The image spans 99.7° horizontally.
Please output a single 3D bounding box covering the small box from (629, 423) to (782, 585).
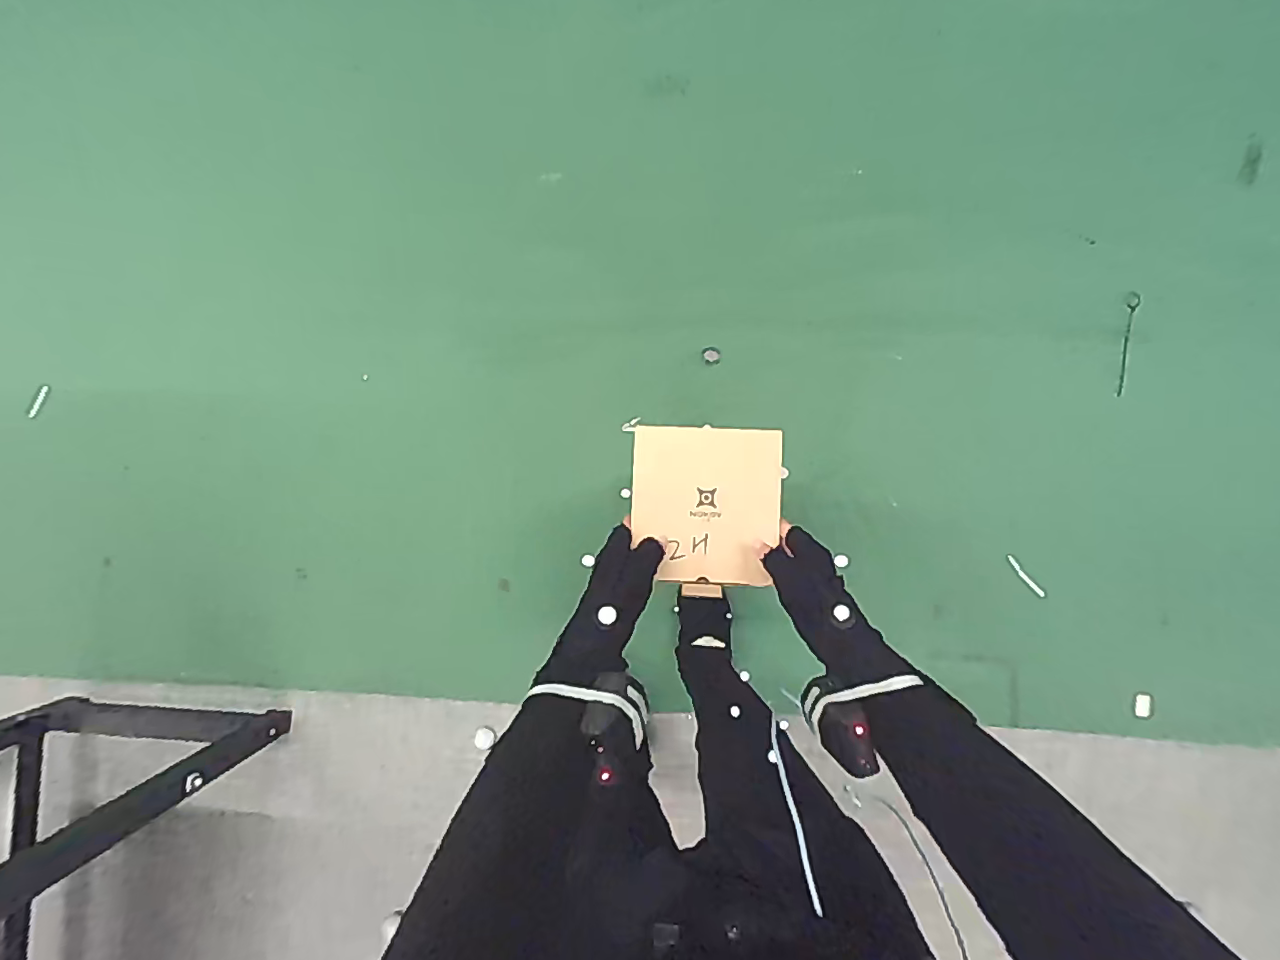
[{"bbox_3d":[0.076,0.030,0.679,0.168,0.176,0.179,2,87,3],"label":"small box"}]
